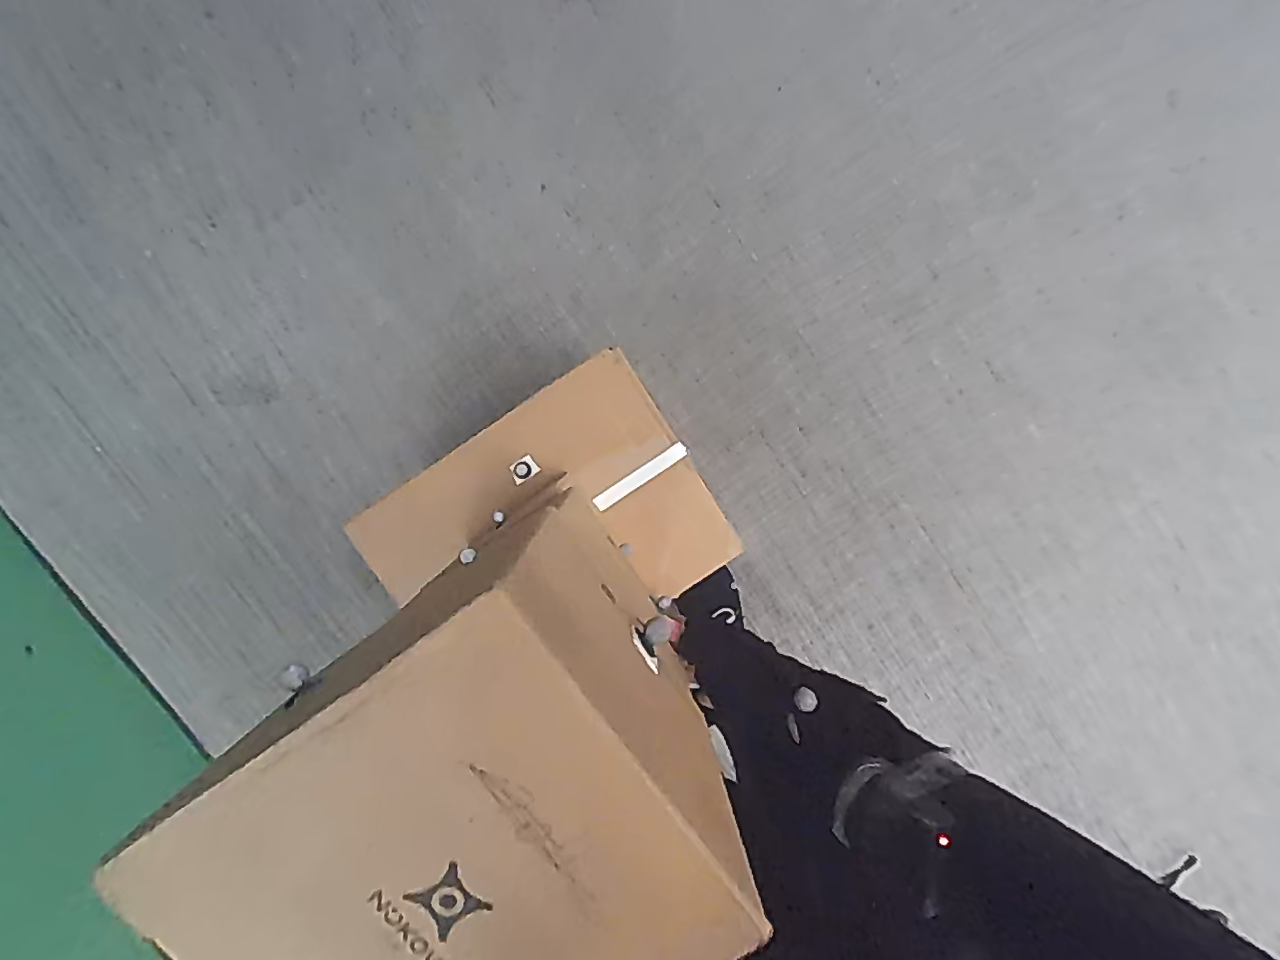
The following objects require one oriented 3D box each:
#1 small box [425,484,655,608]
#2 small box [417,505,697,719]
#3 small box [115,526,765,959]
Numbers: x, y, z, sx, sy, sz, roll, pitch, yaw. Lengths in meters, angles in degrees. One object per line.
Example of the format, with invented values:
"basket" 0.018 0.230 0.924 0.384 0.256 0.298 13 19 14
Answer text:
"small box" -0.093 0.124 0.598 0.168 0.176 0.179 -37 97 2
"small box" -0.079 0.138 0.433 0.179 0.176 0.168 -34 96 2
"small box" -0.071 0.147 0.272 0.179 0.176 0.168 -36 97 1
